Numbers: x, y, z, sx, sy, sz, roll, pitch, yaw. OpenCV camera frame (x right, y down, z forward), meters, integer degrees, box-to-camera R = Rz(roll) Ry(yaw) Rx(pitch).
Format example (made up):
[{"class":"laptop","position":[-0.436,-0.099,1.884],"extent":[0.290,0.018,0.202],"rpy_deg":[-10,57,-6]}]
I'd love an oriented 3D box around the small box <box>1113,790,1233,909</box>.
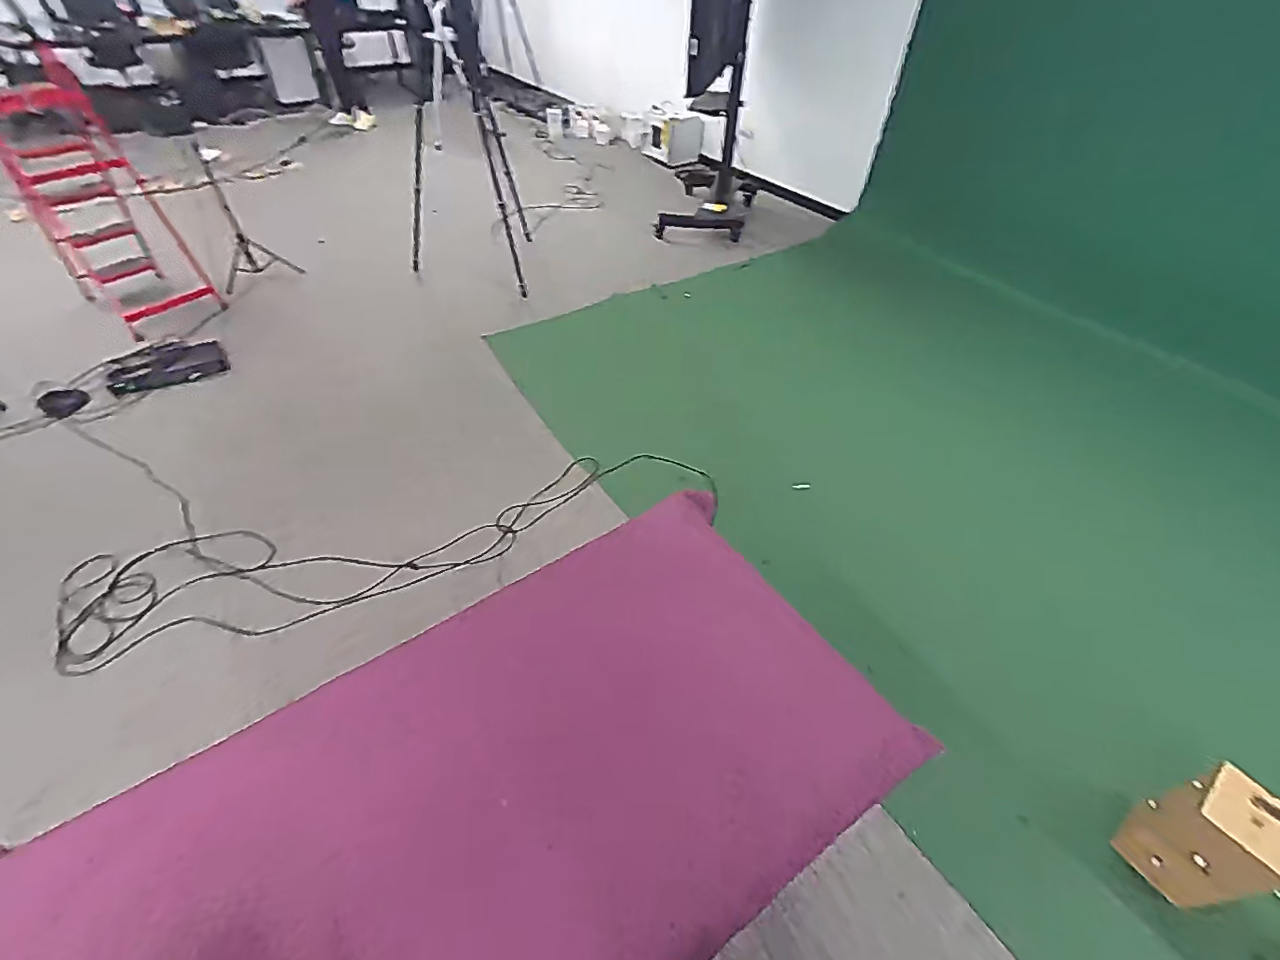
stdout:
[{"class":"small box","position":[1.314,0.899,1.314],"extent":[0.179,0.176,0.168],"rpy_deg":[-25,51,-24]}]

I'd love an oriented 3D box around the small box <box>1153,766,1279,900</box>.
[{"class":"small box","position":[1.307,0.782,1.198],"extent":[0.179,0.176,0.168],"rpy_deg":[-28,52,-25]}]
